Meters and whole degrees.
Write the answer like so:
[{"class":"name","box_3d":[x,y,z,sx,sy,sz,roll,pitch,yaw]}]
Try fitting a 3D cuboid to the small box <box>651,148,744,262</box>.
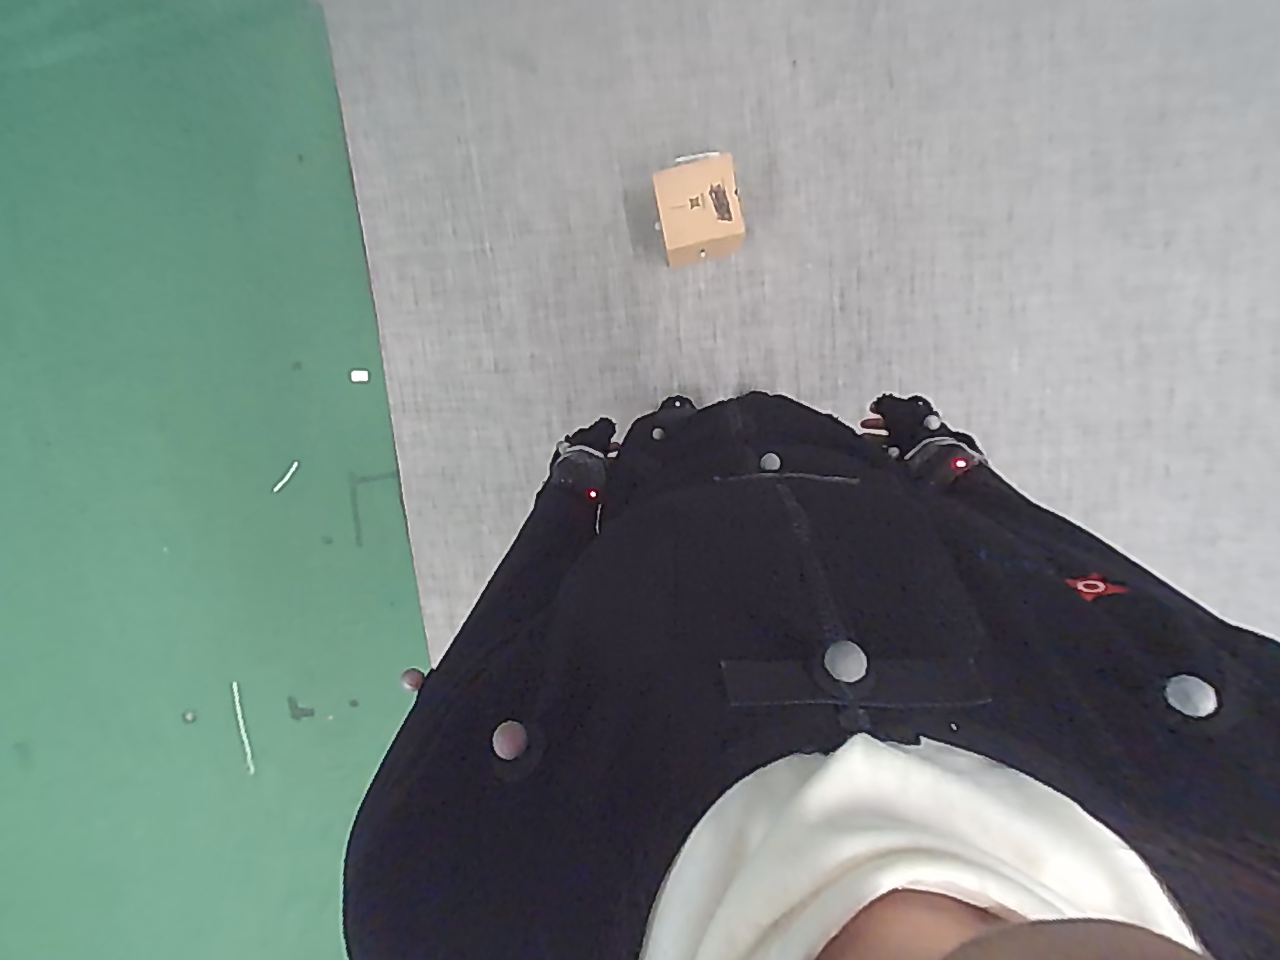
[{"class":"small box","box_3d":[0.130,-0.624,1.249,0.179,0.176,0.168,-14,98,7]}]
